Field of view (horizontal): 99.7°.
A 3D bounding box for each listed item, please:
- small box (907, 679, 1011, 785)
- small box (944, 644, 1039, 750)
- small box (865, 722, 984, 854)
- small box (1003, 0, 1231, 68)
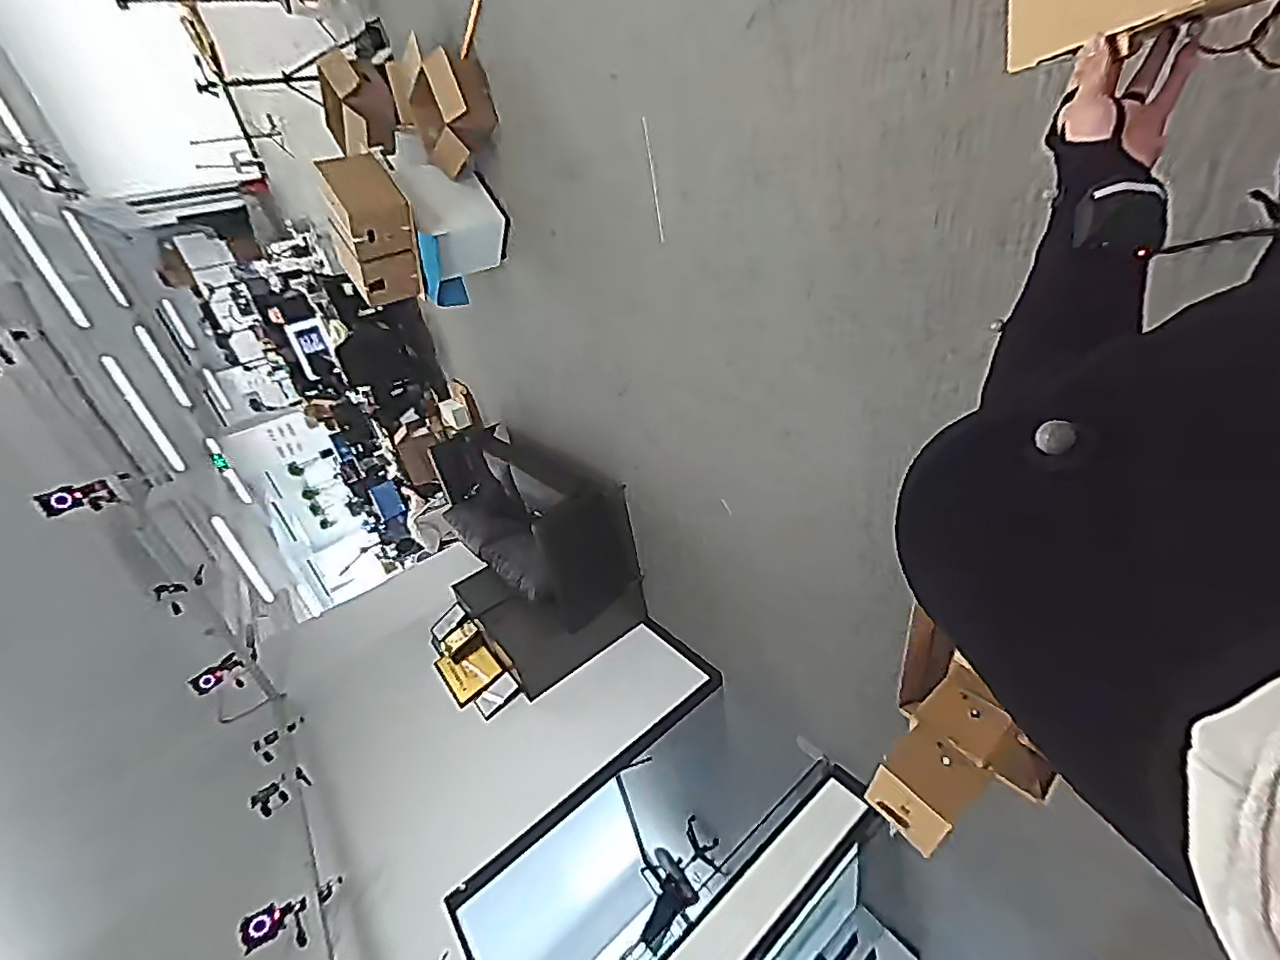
[{"bbox_3d":[0.782,0.637,1.336,0.168,0.176,0.179,27,135,46],"label":"small box"},{"bbox_3d":[0.908,0.573,1.416,0.168,0.176,0.179,27,135,45],"label":"small box"},{"bbox_3d":[0.659,0.708,1.255,0.168,0.176,0.179,36,140,39],"label":"small box"},{"bbox_3d":[0.461,-0.508,0.477,0.168,0.176,0.179,40,148,61],"label":"small box"}]
